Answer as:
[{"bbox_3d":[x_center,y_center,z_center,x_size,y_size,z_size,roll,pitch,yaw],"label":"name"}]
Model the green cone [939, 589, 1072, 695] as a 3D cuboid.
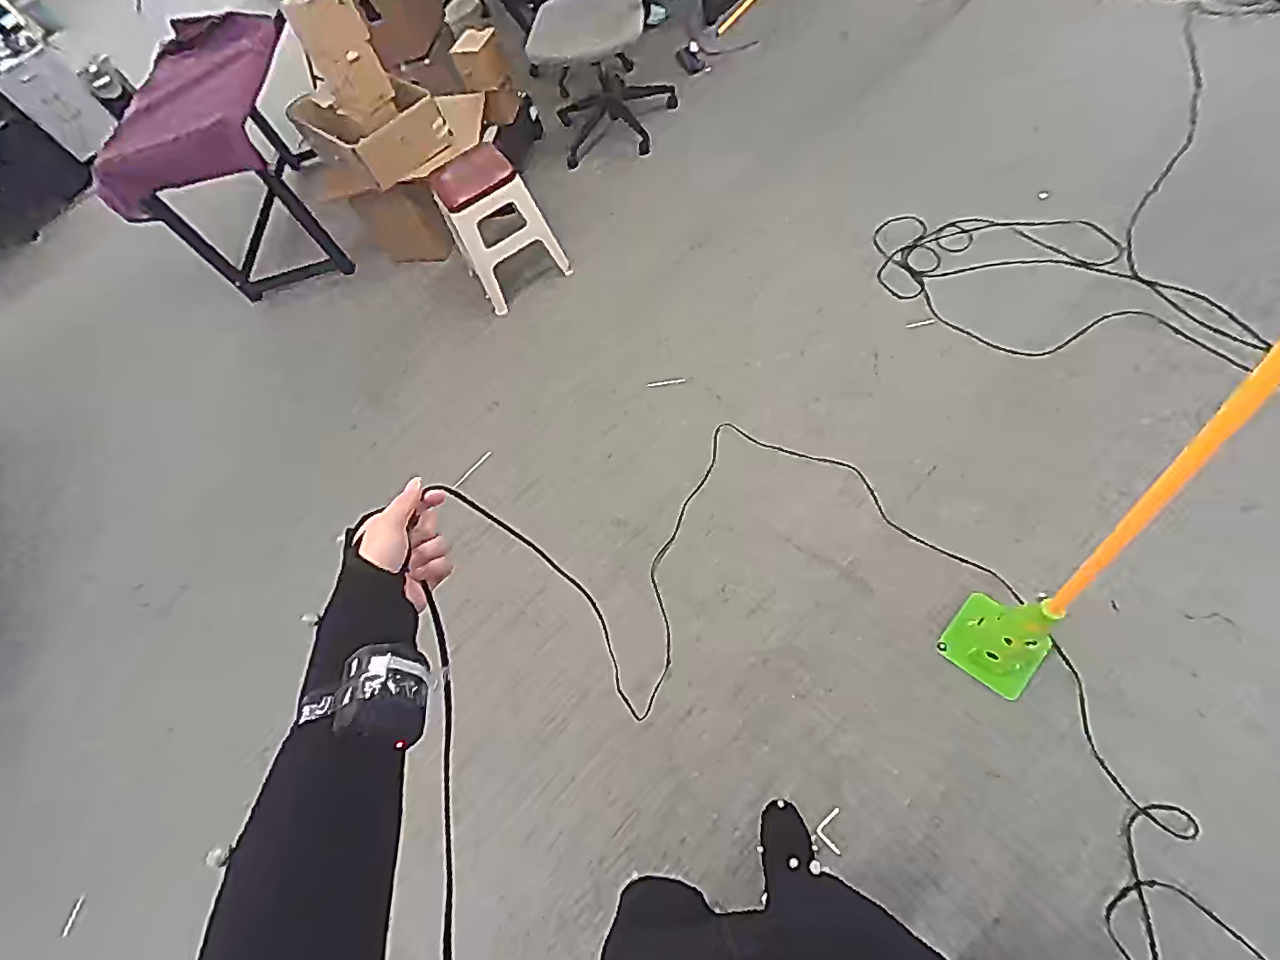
[{"bbox_3d":[0.848,0.320,1.195,0.200,0.368,0.202,36,76,26],"label":"green cone"}]
